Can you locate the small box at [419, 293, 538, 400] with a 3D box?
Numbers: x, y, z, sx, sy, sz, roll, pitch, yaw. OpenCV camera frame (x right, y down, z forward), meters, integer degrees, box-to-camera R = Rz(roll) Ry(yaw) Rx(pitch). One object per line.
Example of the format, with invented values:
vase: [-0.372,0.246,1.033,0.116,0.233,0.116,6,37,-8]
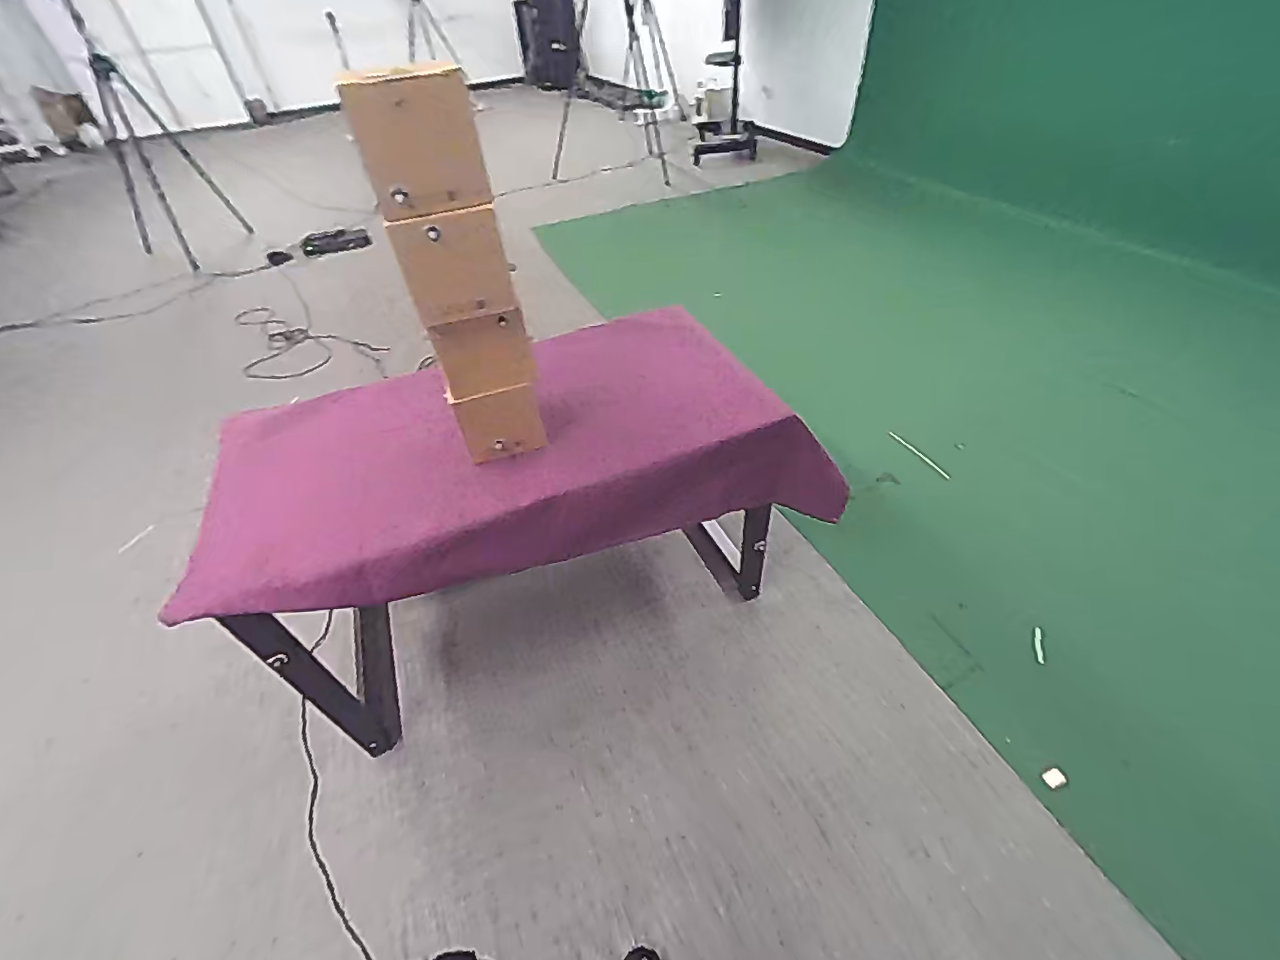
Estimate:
small box: [-0.313,-0.277,1.047,0.179,0.176,0.168,-17,45,-12]

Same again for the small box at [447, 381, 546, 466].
small box: [-0.308,-0.158,1.156,0.168,0.176,0.179,-16,45,-10]

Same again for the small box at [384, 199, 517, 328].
small box: [-0.316,-0.380,0.918,0.168,0.176,0.179,-15,44,-10]

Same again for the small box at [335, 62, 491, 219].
small box: [-0.335,-0.508,0.814,0.168,0.176,0.179,-18,44,-13]
